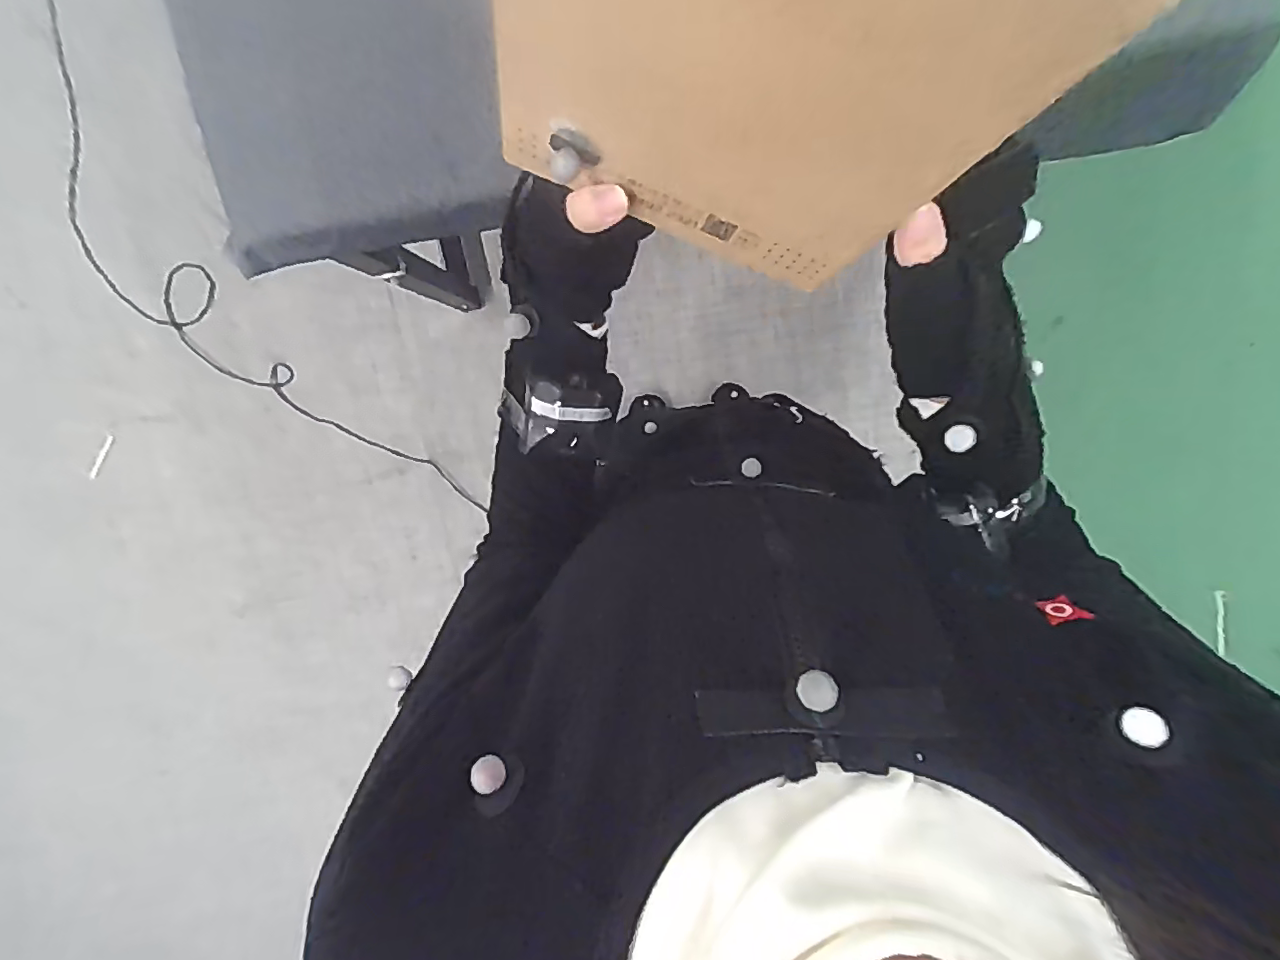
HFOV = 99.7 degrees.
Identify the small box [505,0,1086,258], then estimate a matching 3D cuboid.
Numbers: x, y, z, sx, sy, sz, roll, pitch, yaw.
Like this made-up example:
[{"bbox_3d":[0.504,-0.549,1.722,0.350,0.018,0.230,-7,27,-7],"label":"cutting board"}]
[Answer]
[{"bbox_3d":[0.053,-0.217,0.200,0.168,0.176,0.179,19,82,-10],"label":"small box"}]
